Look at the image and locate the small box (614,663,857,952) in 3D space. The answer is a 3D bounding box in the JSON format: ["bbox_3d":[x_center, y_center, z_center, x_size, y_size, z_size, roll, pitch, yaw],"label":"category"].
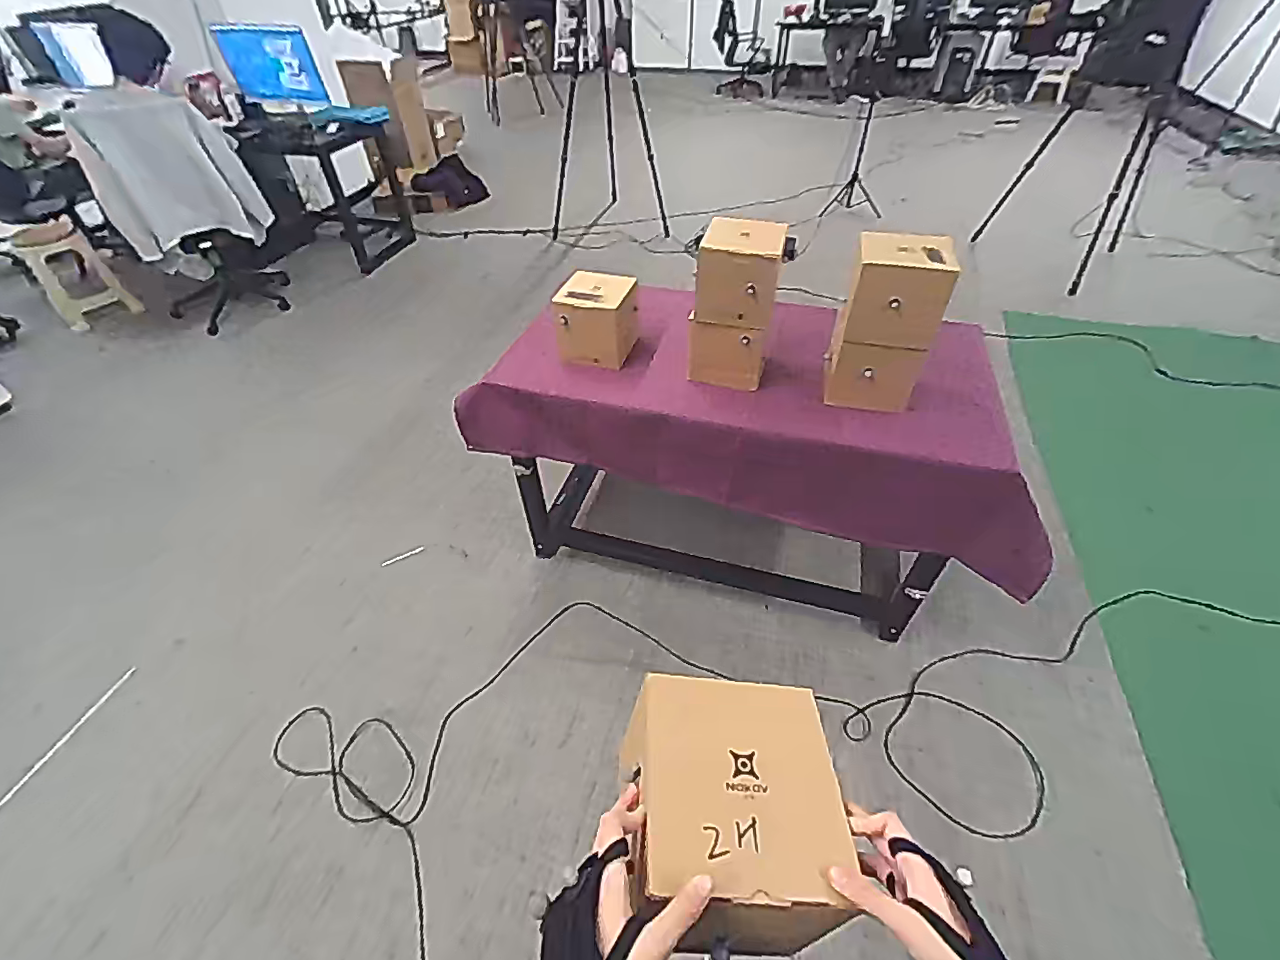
[{"bbox_3d":[0.069,0.302,0.506,0.168,0.176,0.179,7,37,-5],"label":"small box"}]

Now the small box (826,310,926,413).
[{"bbox_3d":[0.528,-0.271,1.237,0.179,0.176,0.168,8,45,12],"label":"small box"}]

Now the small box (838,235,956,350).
[{"bbox_3d":[0.522,-0.387,1.120,0.179,0.176,0.168,9,45,12],"label":"small box"}]

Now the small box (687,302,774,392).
[{"bbox_3d":[0.217,-0.334,1.318,0.179,0.176,0.168,12,46,13],"label":"small box"}]

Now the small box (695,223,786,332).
[{"bbox_3d":[0.220,-0.449,1.202,0.168,0.176,0.179,12,45,12],"label":"small box"}]
